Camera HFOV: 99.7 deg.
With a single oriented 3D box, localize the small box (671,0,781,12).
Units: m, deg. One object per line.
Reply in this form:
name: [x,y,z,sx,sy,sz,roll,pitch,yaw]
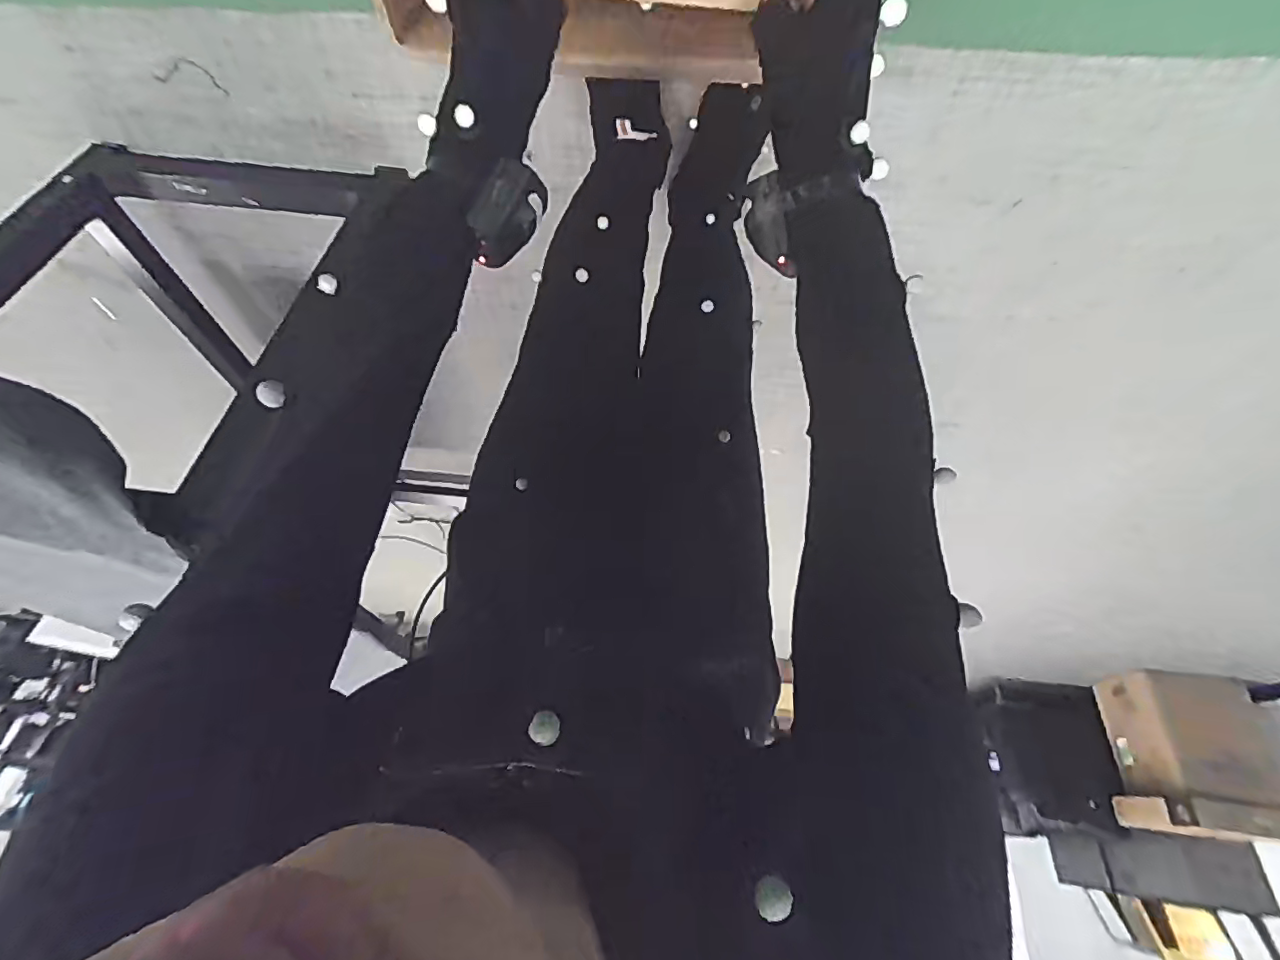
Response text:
small box: [0.024,-0.449,0.359,0.179,0.176,0.168,5,146,0]
